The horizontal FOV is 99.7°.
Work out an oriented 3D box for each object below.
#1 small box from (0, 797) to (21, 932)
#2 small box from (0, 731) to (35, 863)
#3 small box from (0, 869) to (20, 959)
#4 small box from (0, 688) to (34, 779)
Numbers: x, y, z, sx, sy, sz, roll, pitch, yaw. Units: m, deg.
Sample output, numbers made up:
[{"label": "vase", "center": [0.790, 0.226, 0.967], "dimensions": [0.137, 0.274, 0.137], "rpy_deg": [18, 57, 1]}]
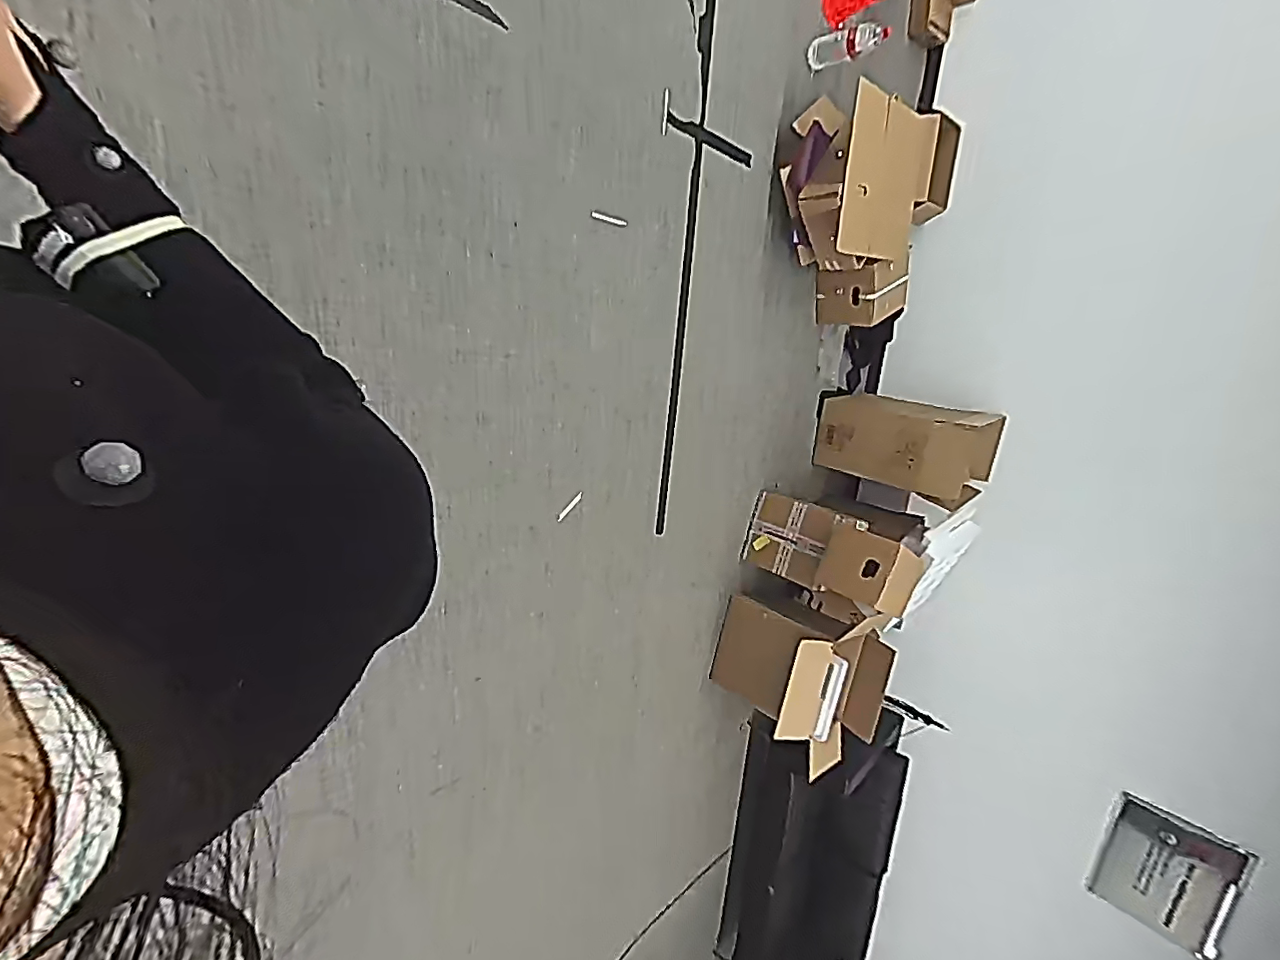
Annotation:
[{"label": "small box", "center": [-1.033, 0.597, 0.782], "dimensions": [0.168, 0.176, 0.179], "rpy_deg": [-8, 108, -46]}, {"label": "small box", "center": [-1.143, 0.555, 0.894], "dimensions": [0.179, 0.176, 0.168], "rpy_deg": [-7, 108, -46]}, {"label": "small box", "center": [-0.913, 0.638, 0.676], "dimensions": [0.168, 0.176, 0.179], "rpy_deg": [-9, 111, -46]}, {"label": "small box", "center": [-1.266, 0.520, 0.999], "dimensions": [0.179, 0.176, 0.168], "rpy_deg": [-10, 111, -45]}]
